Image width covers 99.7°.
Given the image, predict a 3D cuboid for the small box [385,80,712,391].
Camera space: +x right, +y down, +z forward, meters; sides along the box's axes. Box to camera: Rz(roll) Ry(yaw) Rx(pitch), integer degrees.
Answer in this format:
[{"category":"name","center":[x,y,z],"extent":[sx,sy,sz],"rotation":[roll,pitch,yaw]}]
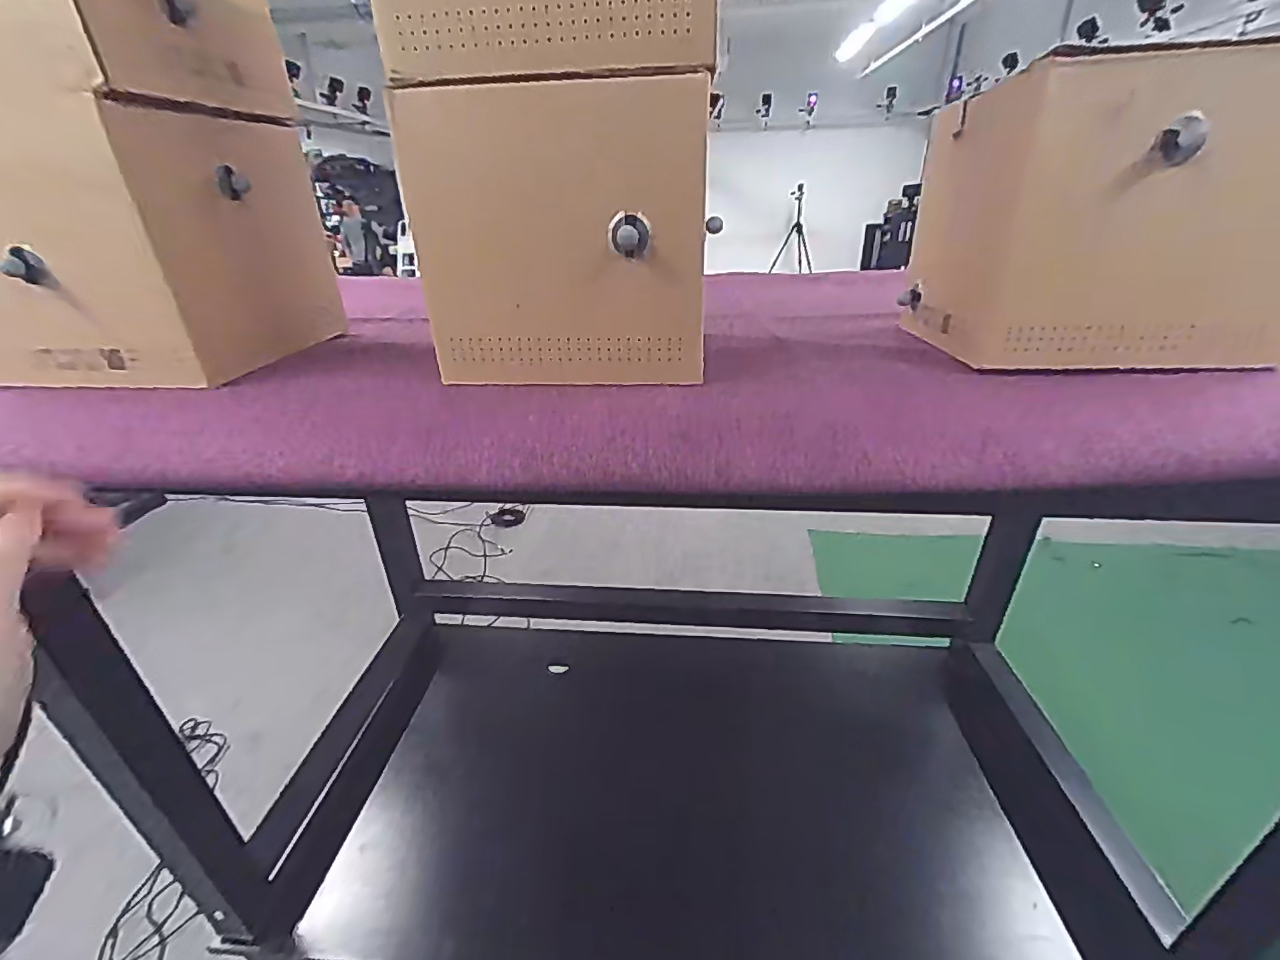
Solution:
[{"category":"small box","center":[-0.042,-0.167,0.388],"extent":[0.179,0.176,0.168],"rotation":[0,27,4]}]

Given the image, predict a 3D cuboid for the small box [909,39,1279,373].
[{"category":"small box","center":[0.306,-0.174,0.376],"extent":[0.179,0.176,0.168],"rotation":[2,26,6]}]

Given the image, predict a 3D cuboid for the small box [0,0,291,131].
[{"category":"small box","center":[-0.364,-0.316,0.329],"extent":[0.179,0.176,0.168],"rotation":[1,29,3]}]

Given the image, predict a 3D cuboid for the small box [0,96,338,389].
[{"category":"small box","center":[-0.363,-0.173,0.407],"extent":[0.168,0.176,0.179],"rotation":[2,28,4]}]
